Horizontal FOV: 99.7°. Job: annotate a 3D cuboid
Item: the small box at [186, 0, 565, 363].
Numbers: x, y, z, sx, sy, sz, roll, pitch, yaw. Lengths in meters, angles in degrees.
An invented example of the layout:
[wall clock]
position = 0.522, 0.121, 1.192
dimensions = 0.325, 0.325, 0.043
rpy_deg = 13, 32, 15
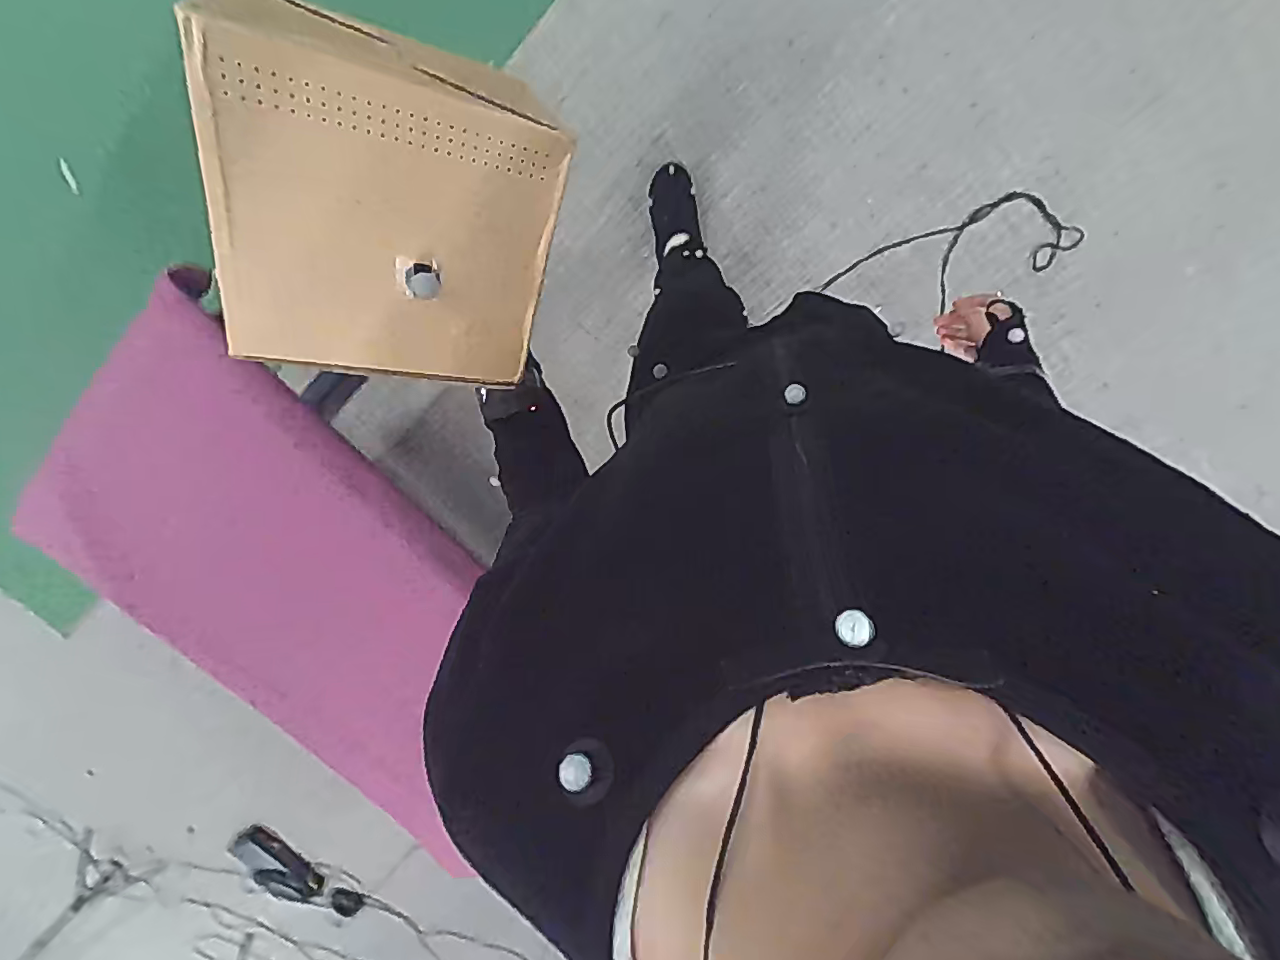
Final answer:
[small box]
position = -0.161, -0.199, 0.351
dimensions = 0.179, 0.168, 0.176
rpy_deg = 1, 132, -27
